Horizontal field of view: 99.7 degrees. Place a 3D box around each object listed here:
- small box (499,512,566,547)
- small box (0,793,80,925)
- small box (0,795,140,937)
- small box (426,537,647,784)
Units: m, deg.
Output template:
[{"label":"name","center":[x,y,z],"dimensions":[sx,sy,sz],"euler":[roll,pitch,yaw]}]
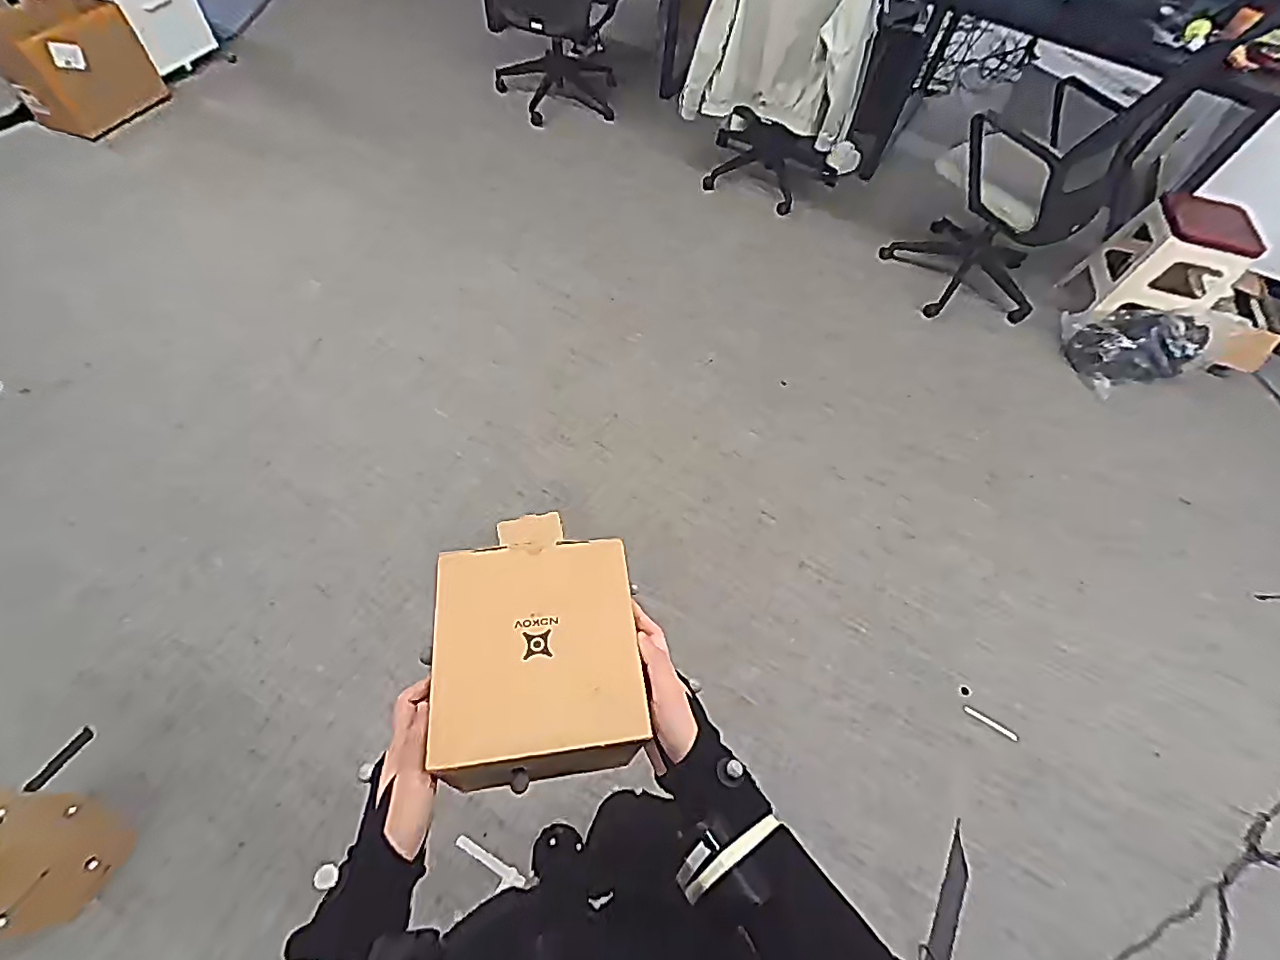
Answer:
[{"label":"small box","center":[-0.280,0.211,1.457],"dimensions":[0.168,0.176,0.179],"euler":[-11,61,-12]},{"label":"small box","center":[-1.145,0.655,0.923],"dimensions":[0.179,0.176,0.168],"euler":[26,60,10]},{"label":"small box","center":[-1.161,0.742,1.062],"dimensions":[0.179,0.176,0.168],"euler":[24,60,10]},{"label":"small box","center":[-0.093,0.175,0.509],"dimensions":[0.168,0.176,0.179],"euler":[-4,55,-11]}]
